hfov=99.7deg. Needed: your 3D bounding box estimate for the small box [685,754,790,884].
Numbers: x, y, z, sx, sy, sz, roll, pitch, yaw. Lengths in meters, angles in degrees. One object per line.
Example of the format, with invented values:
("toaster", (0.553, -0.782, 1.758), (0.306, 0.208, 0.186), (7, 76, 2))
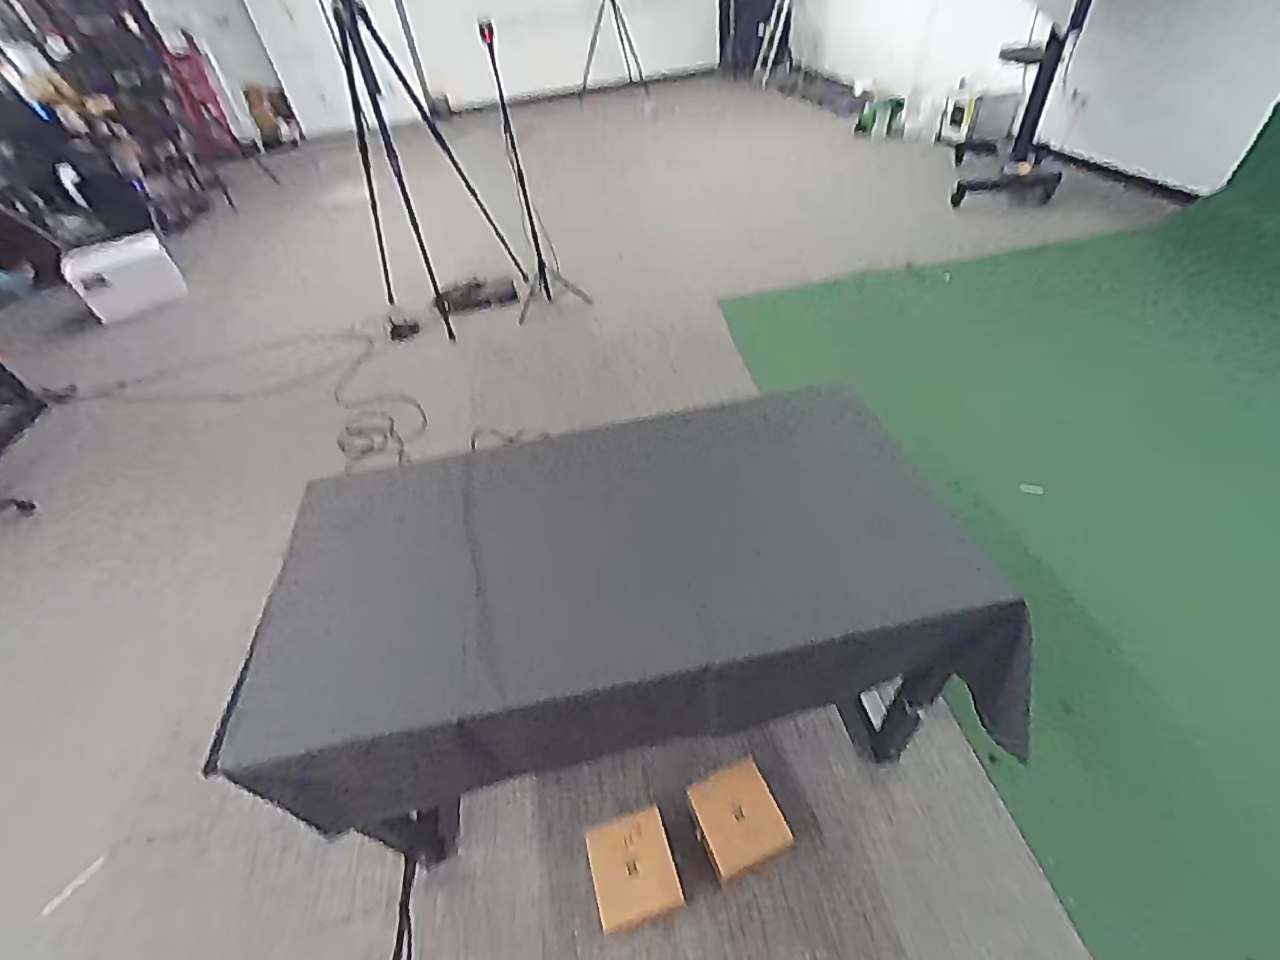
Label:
("small box", (0.209, 0.751, 1.196), (0.168, 0.176, 0.179), (-20, 45, -11))
